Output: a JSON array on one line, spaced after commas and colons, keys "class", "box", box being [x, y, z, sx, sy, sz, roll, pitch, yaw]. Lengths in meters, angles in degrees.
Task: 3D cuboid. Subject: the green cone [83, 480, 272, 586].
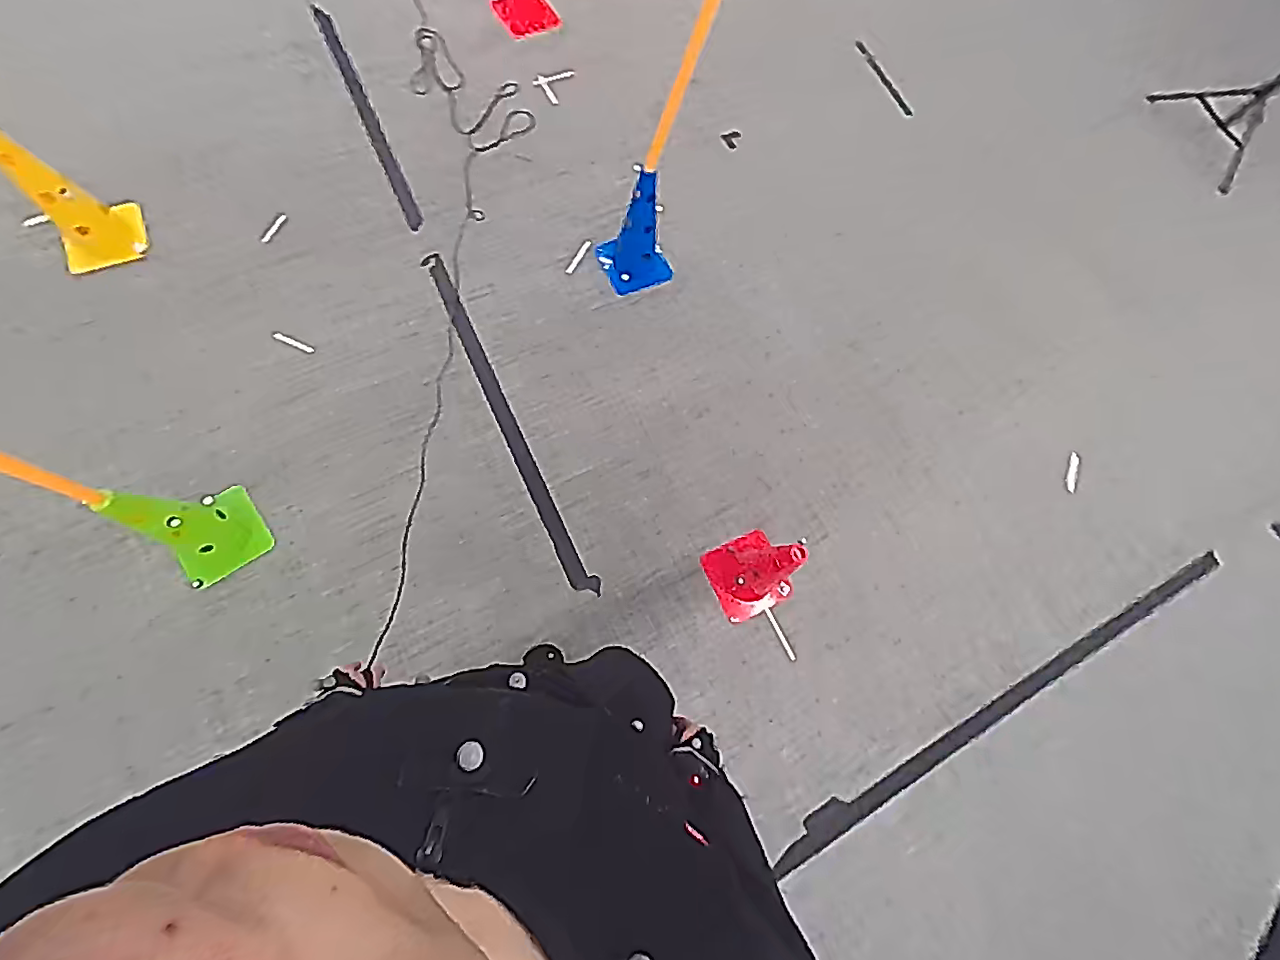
[{"class": "green cone", "box": [-1.020, 0.078, 1.168, 0.200, 0.368, 0.202, -35, 78, -15]}]

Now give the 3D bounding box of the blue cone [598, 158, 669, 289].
[{"class": "blue cone", "box": [0.000, -0.744, 1.553, 0.193, 0.380, 0.192, -21, 76, -13]}]

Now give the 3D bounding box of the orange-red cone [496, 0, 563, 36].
[{"class": "orange-red cone", "box": [-0.387, -1.754, 1.808, 0.199, 0.360, 0.198, -30, 78, -13]}]
